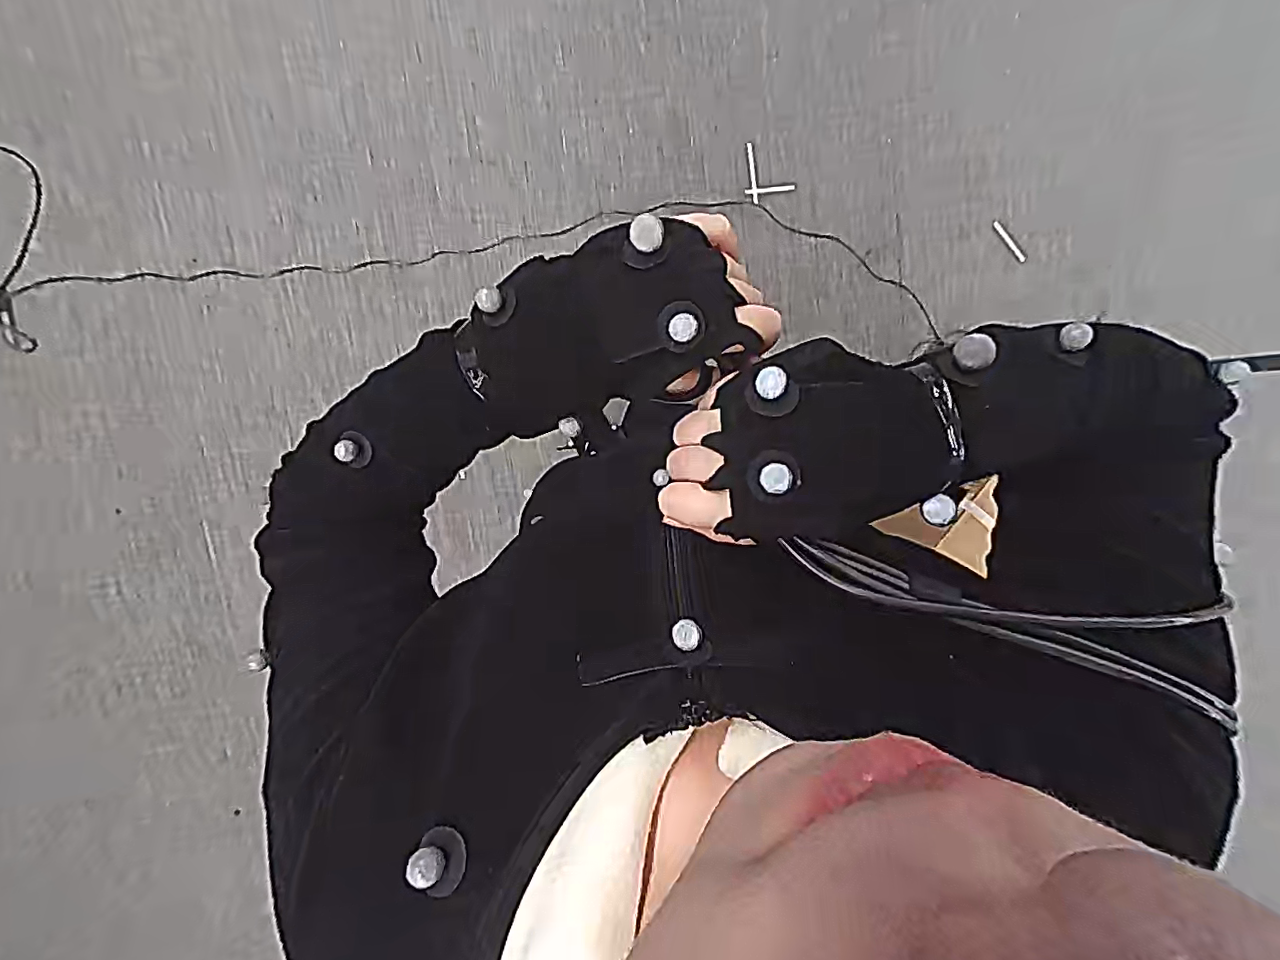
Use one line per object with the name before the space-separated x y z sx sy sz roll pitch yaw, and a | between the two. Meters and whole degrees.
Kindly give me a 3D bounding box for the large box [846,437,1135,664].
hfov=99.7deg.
large box | 0.780 0.140 1.258 0.408 0.320 0.320 37 93 -9
